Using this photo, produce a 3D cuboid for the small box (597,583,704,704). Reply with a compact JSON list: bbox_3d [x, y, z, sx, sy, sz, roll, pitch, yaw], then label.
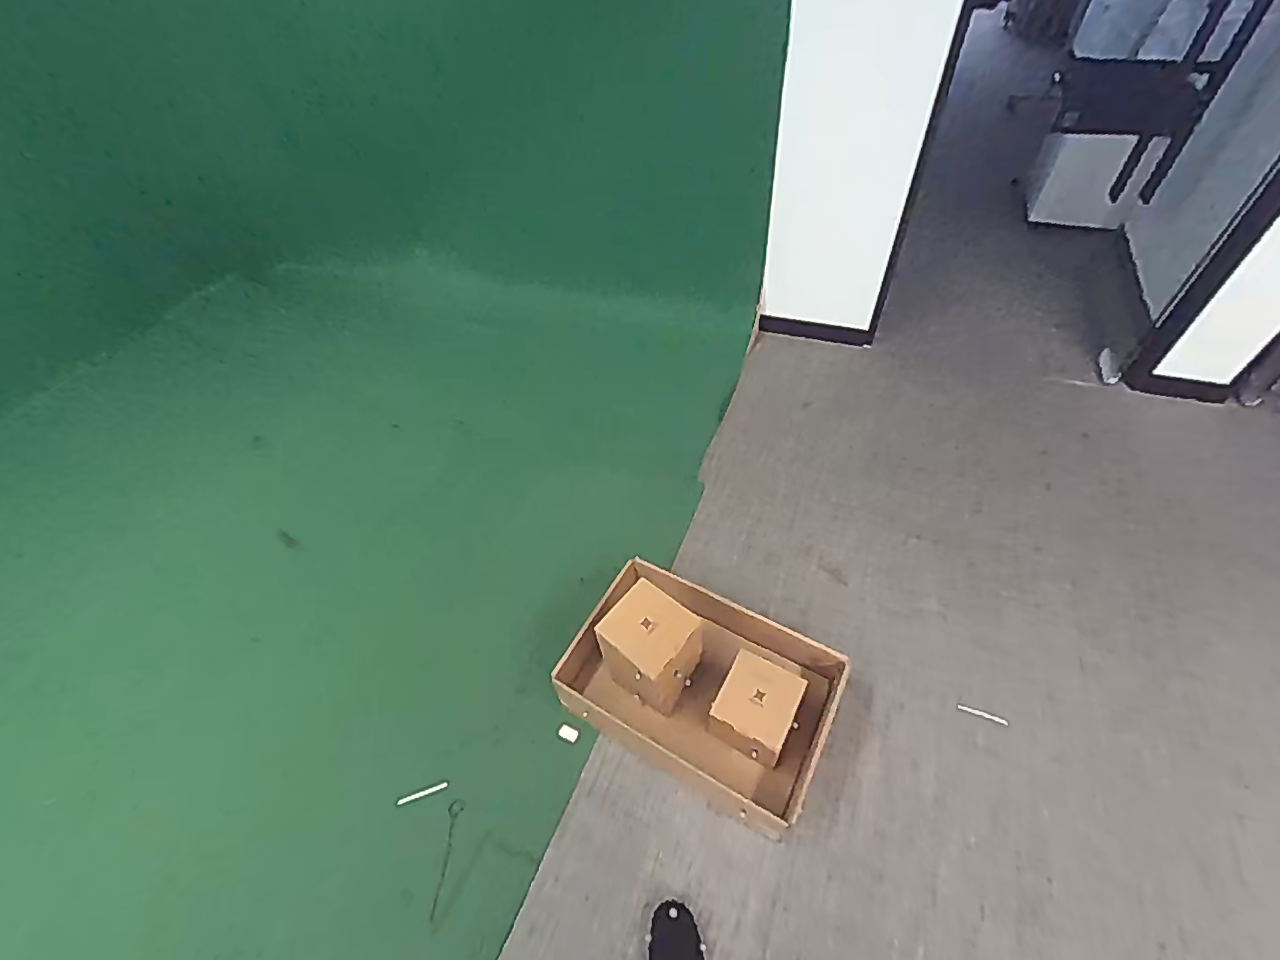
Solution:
[{"bbox_3d":[0.026,0.374,1.227,0.179,0.176,0.168,32,60,26],"label":"small box"}]
